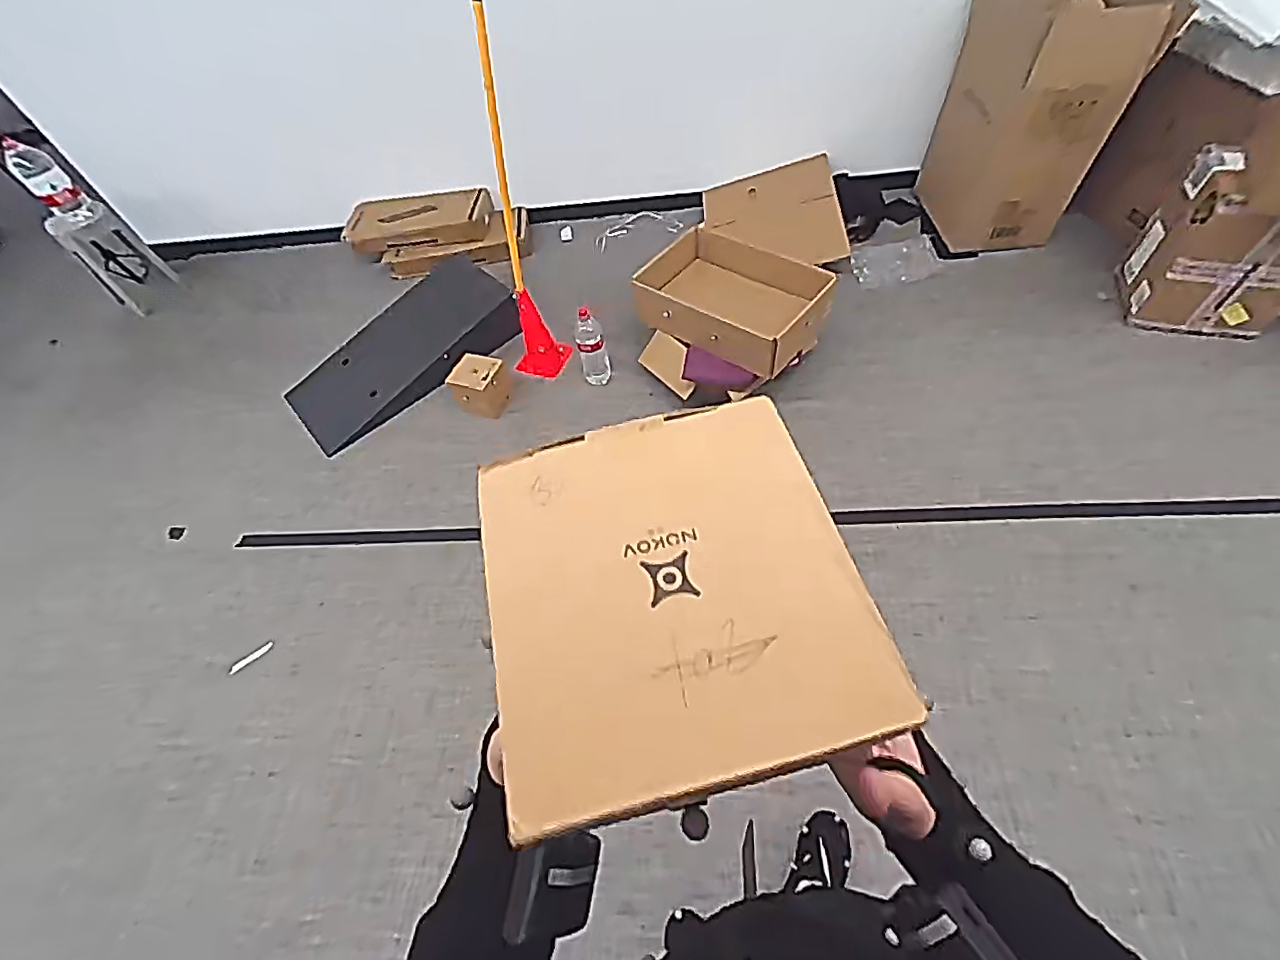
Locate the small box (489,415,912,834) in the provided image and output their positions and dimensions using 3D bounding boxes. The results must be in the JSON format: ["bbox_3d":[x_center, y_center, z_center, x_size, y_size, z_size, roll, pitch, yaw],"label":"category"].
[{"bbox_3d":[0.018,0.092,0.326,0.168,0.176,0.179,-14,59,-4],"label":"small box"}]
